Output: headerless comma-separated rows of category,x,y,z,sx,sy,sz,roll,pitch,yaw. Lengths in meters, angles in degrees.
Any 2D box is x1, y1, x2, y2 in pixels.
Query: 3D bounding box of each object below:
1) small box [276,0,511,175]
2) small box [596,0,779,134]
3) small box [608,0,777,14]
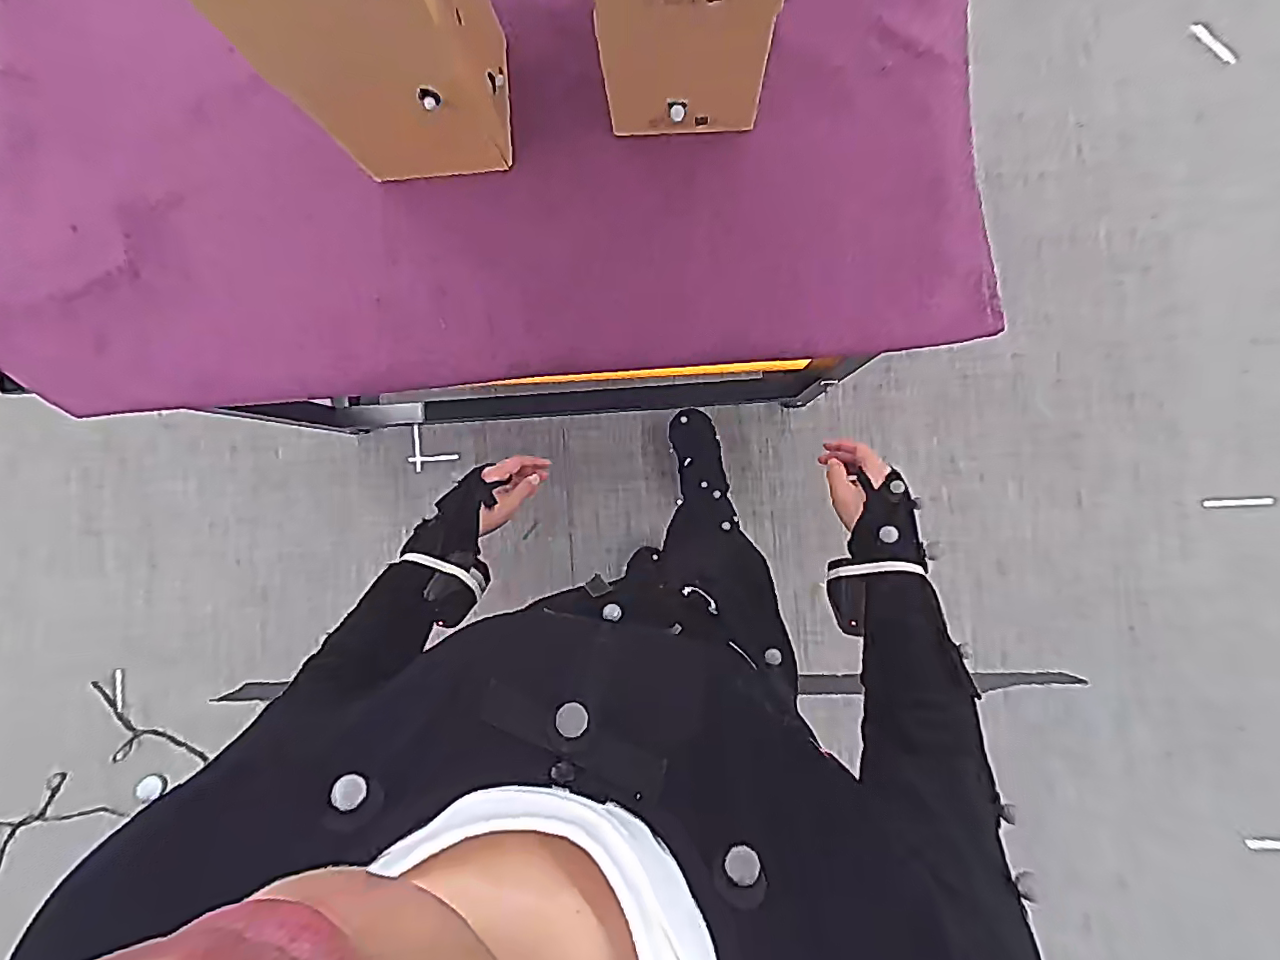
small box,-0.252,-0.457,0.582,0.179,0.176,0.168,-3,89,3
small box,0.048,-0.498,0.561,0.168,0.176,0.179,1,90,4
small box,0.040,-0.499,0.396,0.168,0.176,0.179,0,90,5
